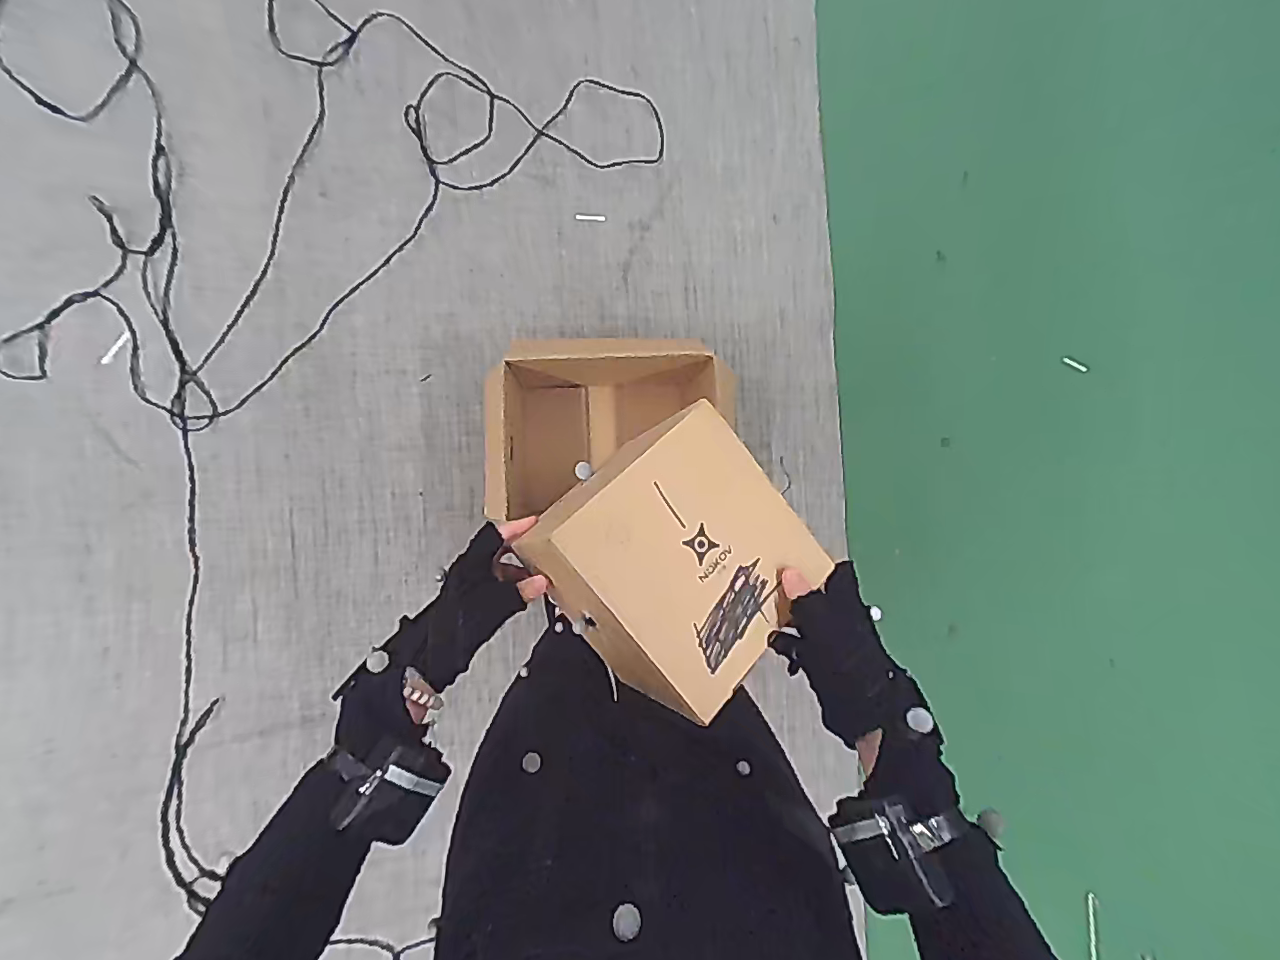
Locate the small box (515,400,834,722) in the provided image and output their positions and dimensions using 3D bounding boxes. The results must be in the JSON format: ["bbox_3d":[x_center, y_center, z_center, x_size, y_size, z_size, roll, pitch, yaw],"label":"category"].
[{"bbox_3d":[0.018,0.063,0.463,0.168,0.176,0.179,-43,99,-22],"label":"small box"}]
